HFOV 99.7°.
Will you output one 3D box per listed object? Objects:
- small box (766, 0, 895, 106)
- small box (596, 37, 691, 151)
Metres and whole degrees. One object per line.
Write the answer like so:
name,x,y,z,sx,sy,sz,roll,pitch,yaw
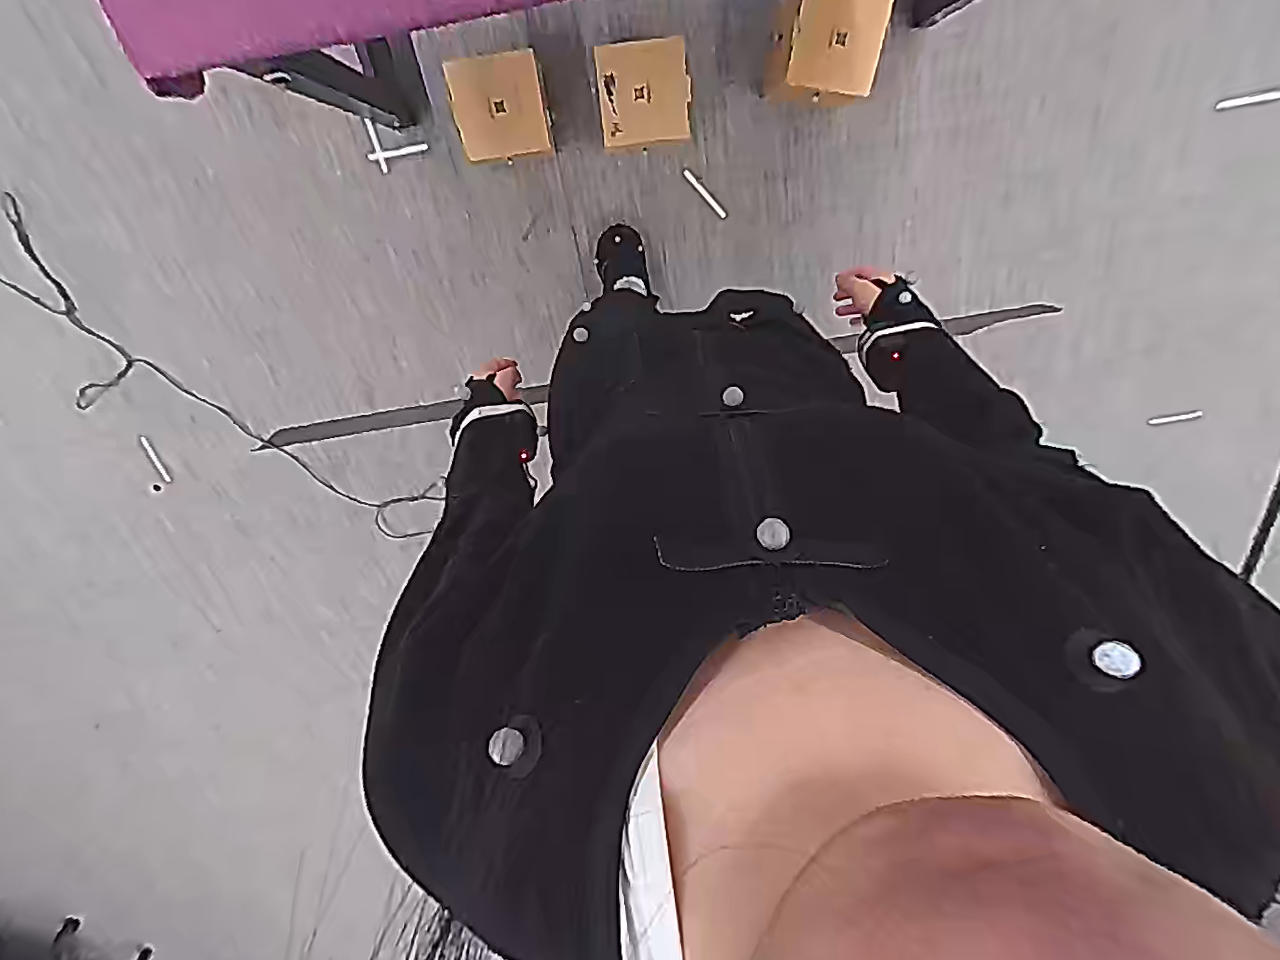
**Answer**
small box,0.373,-0.876,1.094,0.179,0.176,0.168,6,117,-5
small box,0.005,-0.788,1.116,0.179,0.176,0.168,-6,117,0
